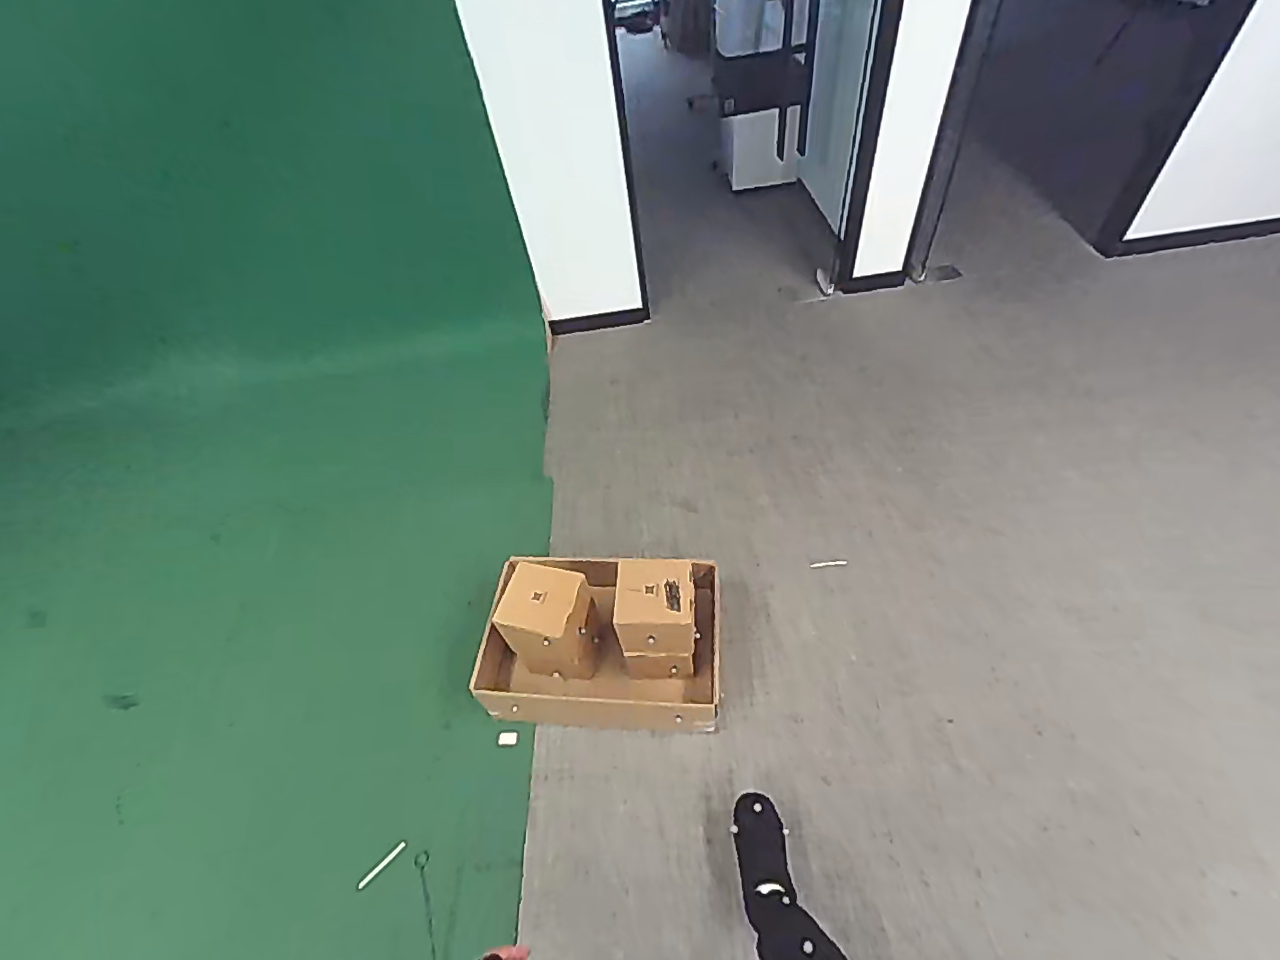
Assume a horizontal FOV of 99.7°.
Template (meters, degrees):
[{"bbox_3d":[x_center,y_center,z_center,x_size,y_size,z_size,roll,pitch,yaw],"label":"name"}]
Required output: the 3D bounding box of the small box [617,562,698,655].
[{"bbox_3d":[0.050,0.311,1.300,0.179,0.176,0.168,-3,50,9],"label":"small box"}]

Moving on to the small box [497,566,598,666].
[{"bbox_3d":[-0.218,0.336,1.328,0.179,0.176,0.168,9,52,14],"label":"small box"}]
